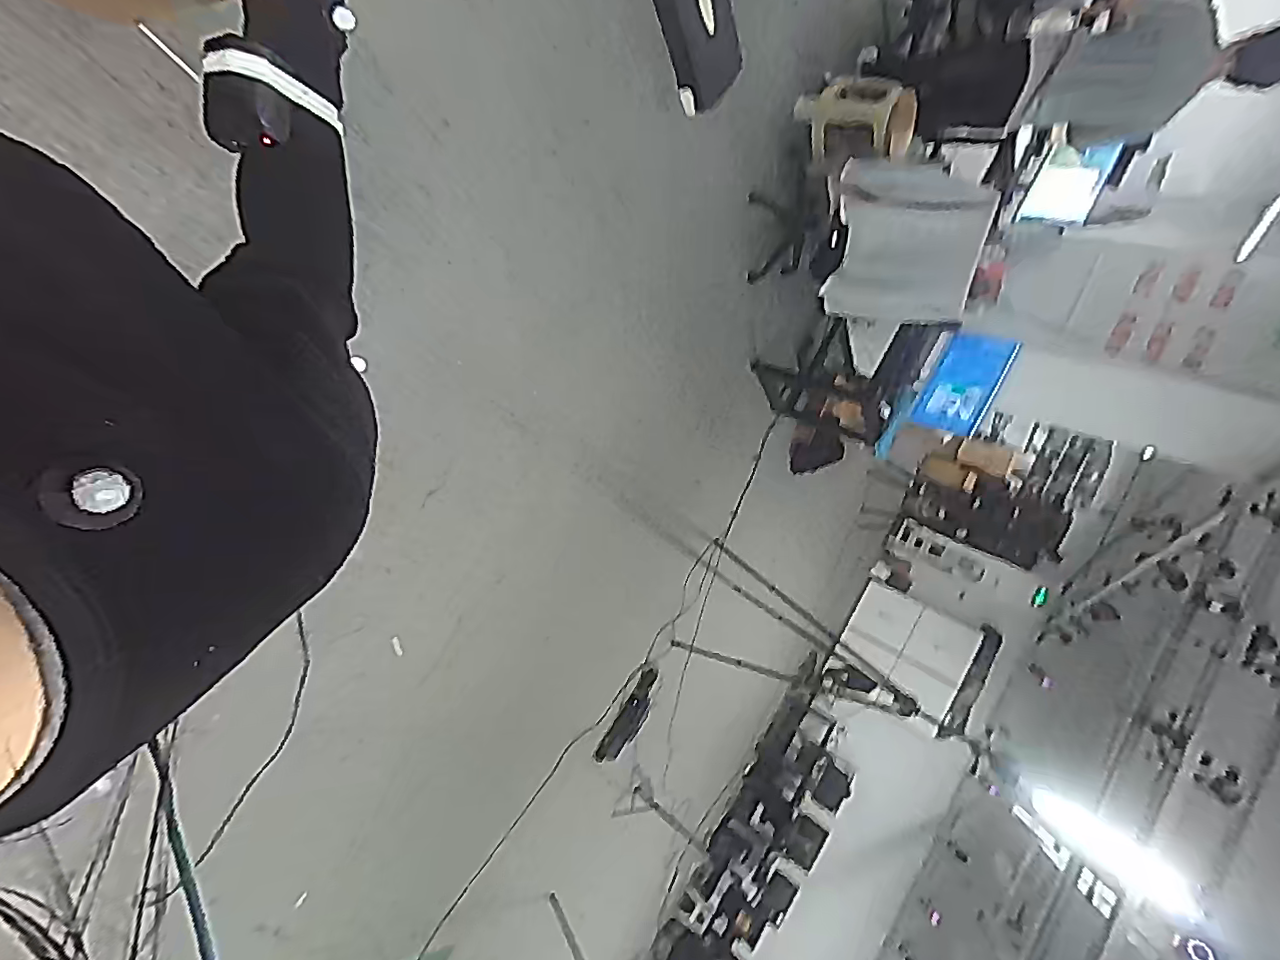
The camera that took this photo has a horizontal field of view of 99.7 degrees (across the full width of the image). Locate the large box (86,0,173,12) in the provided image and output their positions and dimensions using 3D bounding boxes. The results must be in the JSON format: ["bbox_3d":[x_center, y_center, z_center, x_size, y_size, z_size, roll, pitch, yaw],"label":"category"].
[{"bbox_3d":[-0.470,-0.523,0.257,0.408,0.320,0.320,-9,116,-54],"label":"large box"}]
